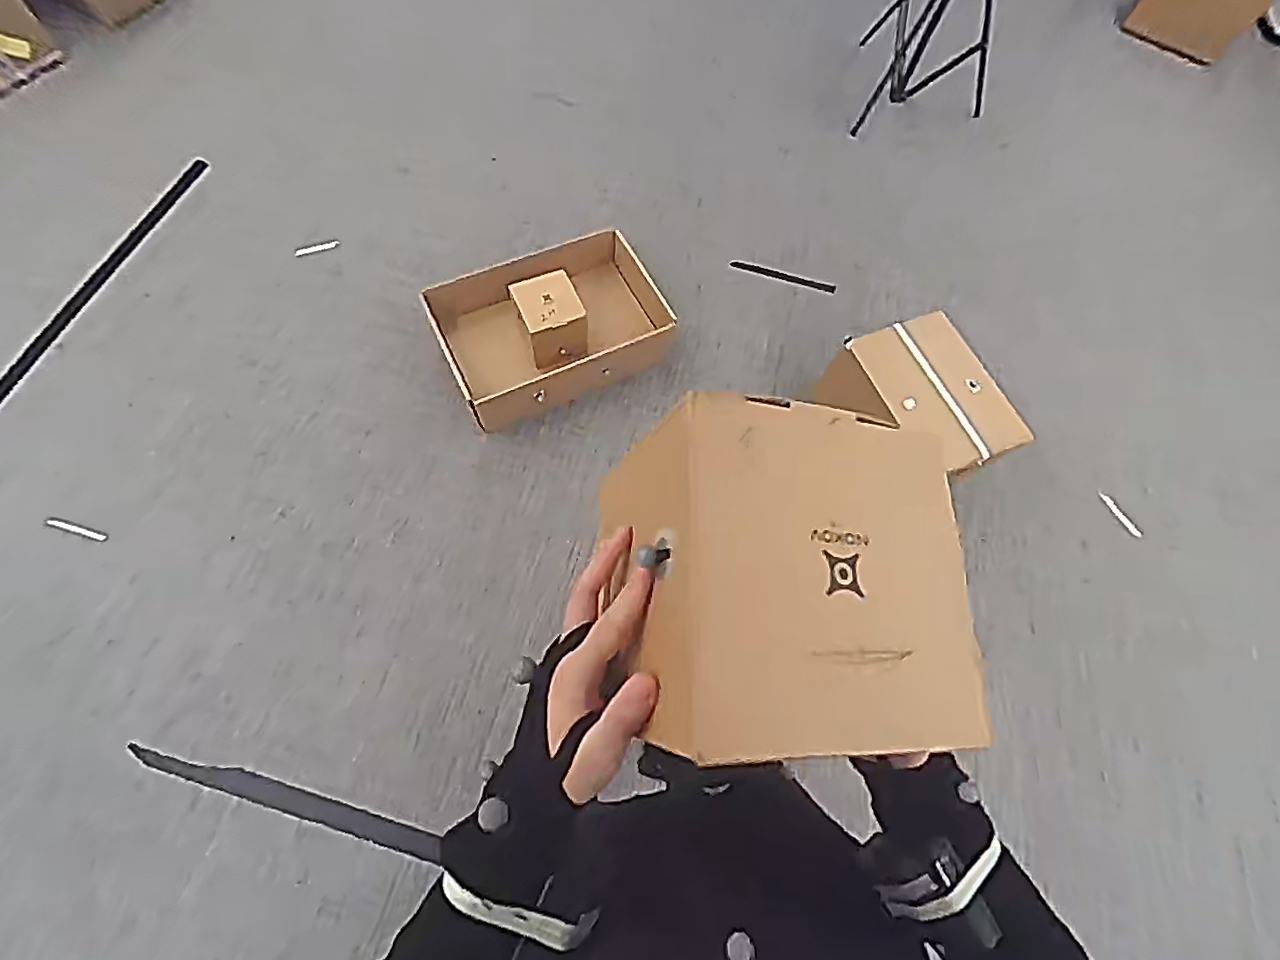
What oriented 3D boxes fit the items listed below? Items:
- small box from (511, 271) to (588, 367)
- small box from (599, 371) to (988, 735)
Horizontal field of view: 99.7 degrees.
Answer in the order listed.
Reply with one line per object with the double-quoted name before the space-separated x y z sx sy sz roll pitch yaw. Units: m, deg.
"small box" -0.257 -0.457 1.550 0.168 0.176 0.179 -22 71 -12
"small box" 0.076 0.058 0.349 0.168 0.176 0.179 8 71 -19
